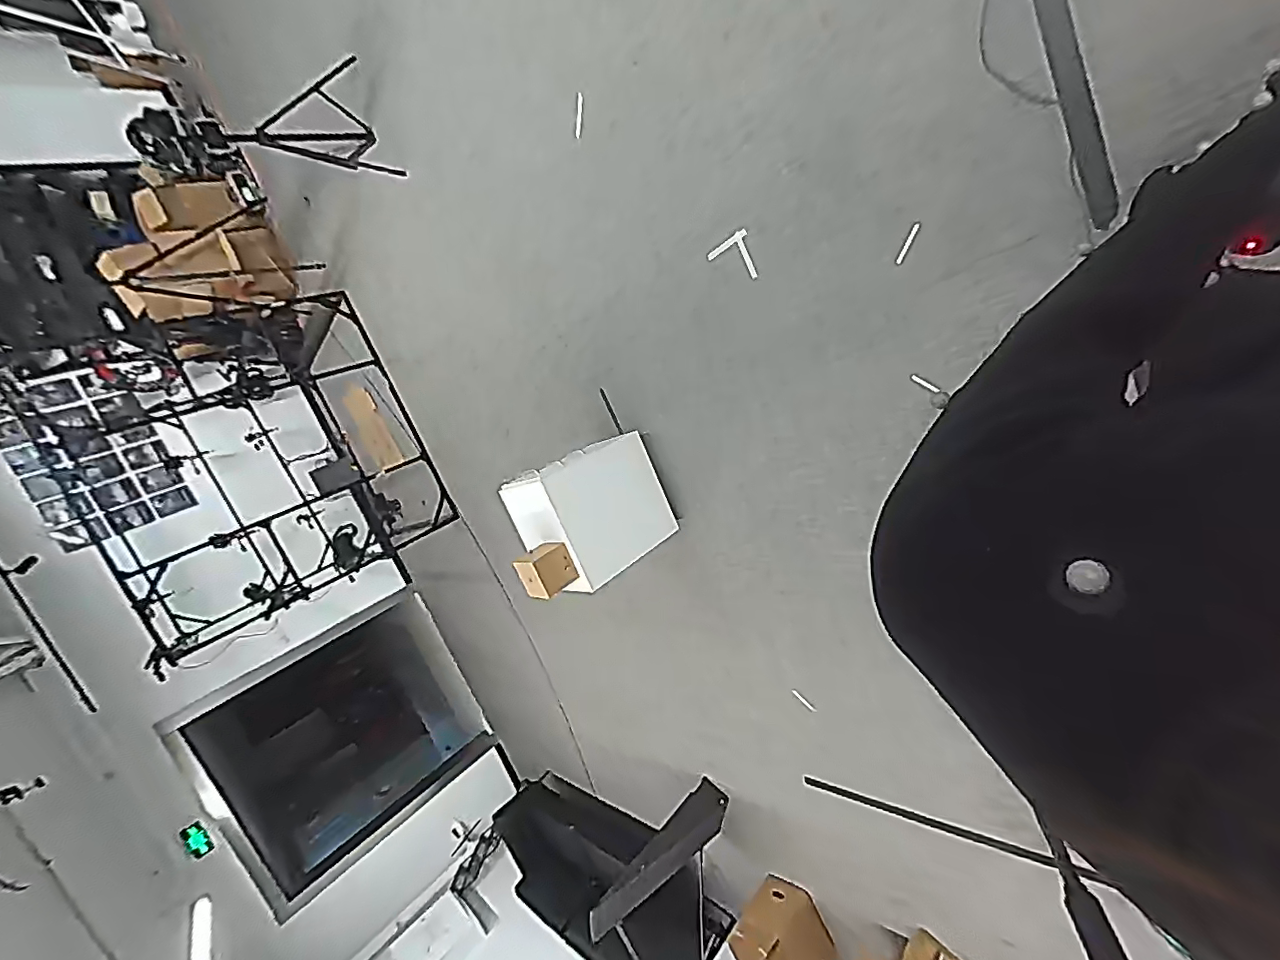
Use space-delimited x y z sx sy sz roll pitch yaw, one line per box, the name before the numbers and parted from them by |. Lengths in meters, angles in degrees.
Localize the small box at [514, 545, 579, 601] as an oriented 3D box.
small box | -0.377 0.374 2.205 0.179 0.176 0.168 -10 107 51
